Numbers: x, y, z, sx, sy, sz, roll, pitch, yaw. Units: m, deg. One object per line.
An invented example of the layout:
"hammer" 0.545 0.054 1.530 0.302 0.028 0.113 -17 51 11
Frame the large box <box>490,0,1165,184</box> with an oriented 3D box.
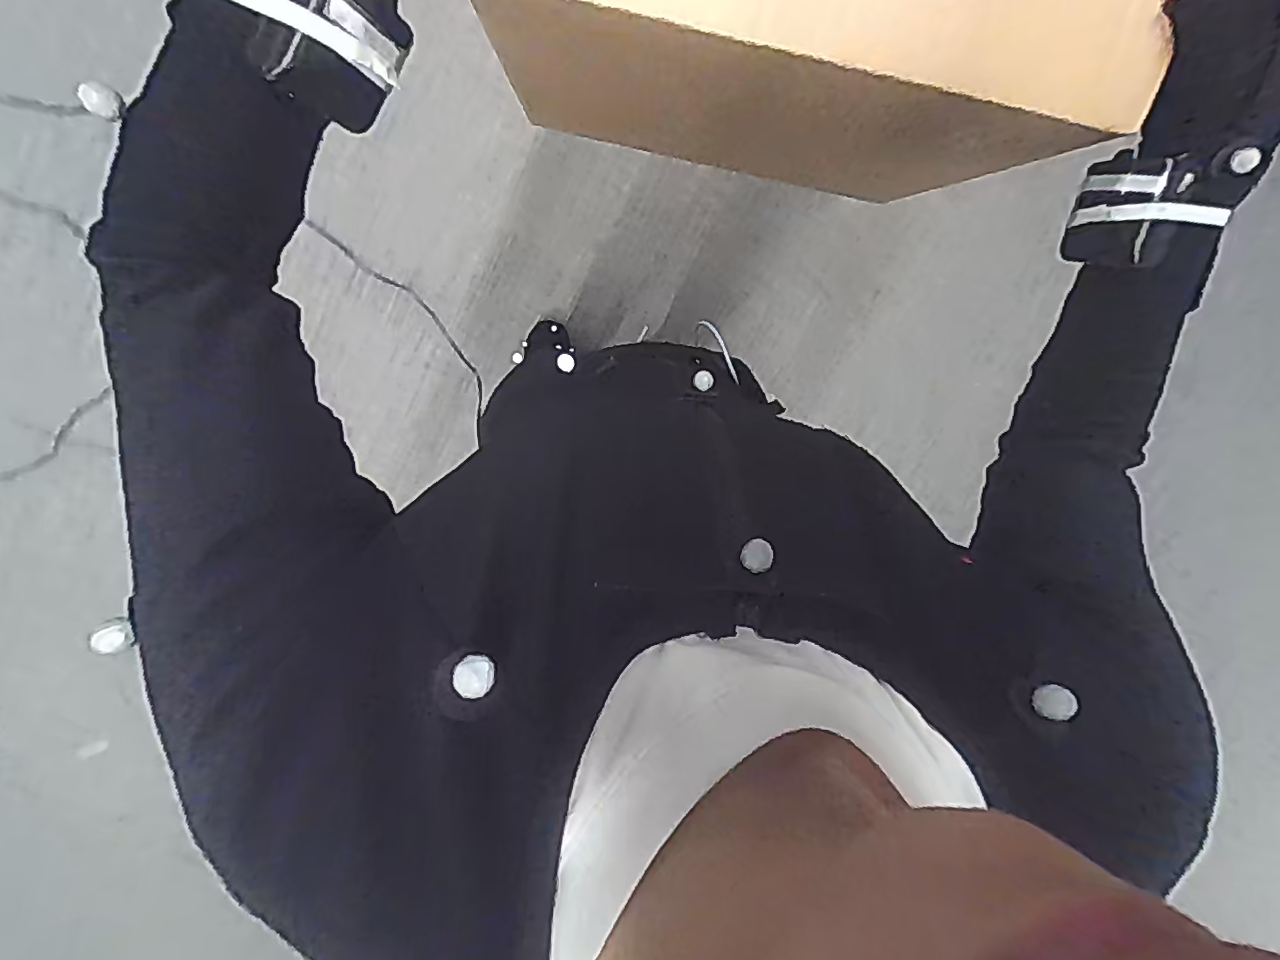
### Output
"large box" 0.113 -0.443 0.400 0.408 0.320 0.320 7 111 -8
